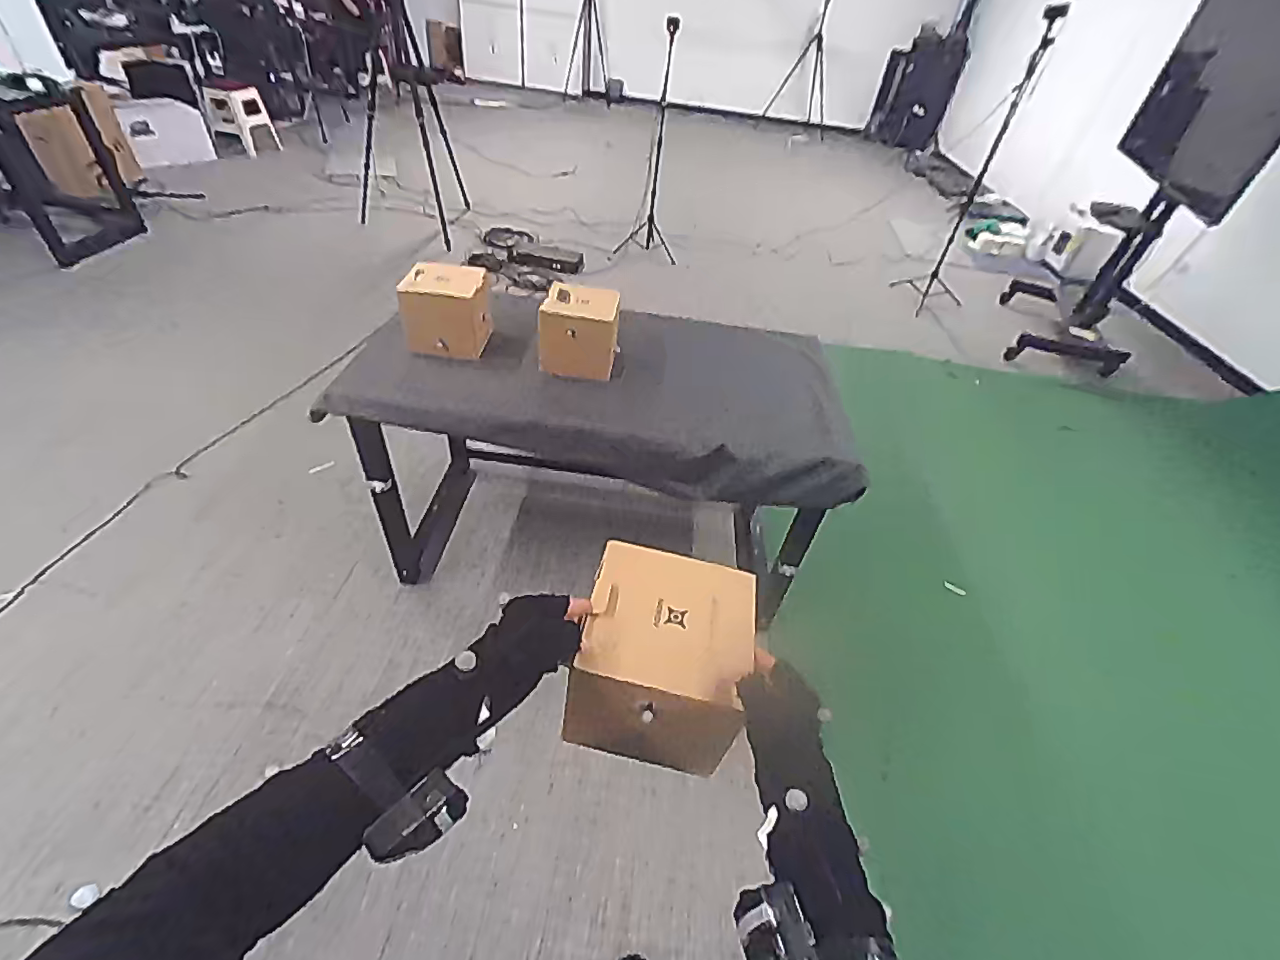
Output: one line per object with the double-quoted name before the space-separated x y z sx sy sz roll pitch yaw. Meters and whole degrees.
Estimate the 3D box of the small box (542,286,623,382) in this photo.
"small box" -0.144 -0.364 1.356 0.179 0.176 0.168 8 43 -1

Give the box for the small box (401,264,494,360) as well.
"small box" -0.473 -0.419 1.361 0.179 0.176 0.168 7 43 -3

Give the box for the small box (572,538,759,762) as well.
"small box" 0.027 0.197 0.619 0.179 0.176 0.168 14 43 0
